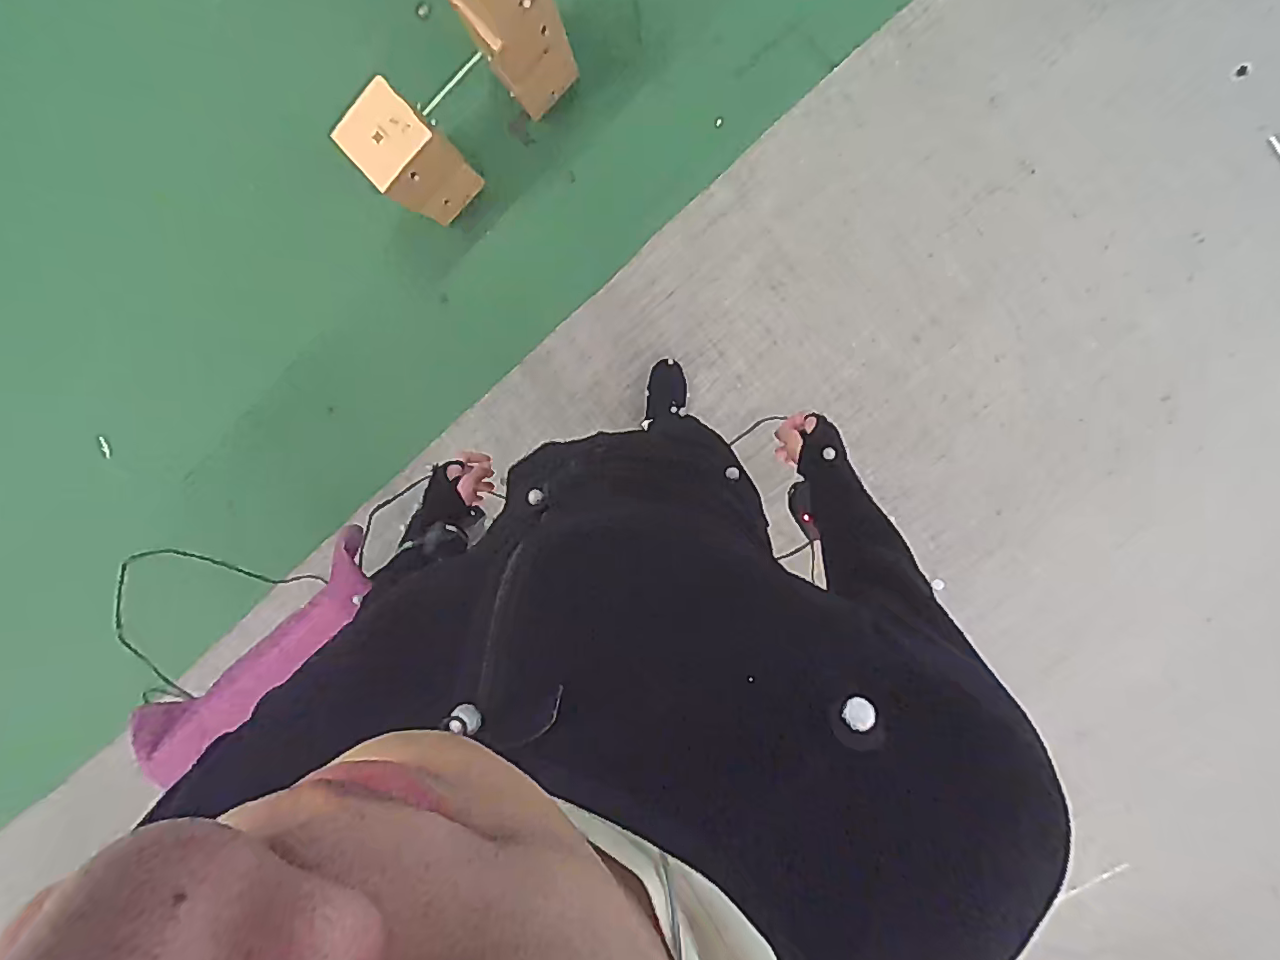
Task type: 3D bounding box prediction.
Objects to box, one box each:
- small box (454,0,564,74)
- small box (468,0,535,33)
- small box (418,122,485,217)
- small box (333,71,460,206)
[{"bbox_3d":[-0.289,-1.033,1.174,0.168,0.176,0.179,-41,97,11],"label":"small box"},{"bbox_3d":[-0.289,-1.006,1.012,0.179,0.176,0.168,42,102,-7],"label":"small box"},{"bbox_3d":[-0.541,-0.818,1.414,0.168,0.176,0.179,-41,96,13],"label":"small box"},{"bbox_3d":[-0.554,-0.777,1.255,0.179,0.176,0.168,-41,96,12],"label":"small box"}]
